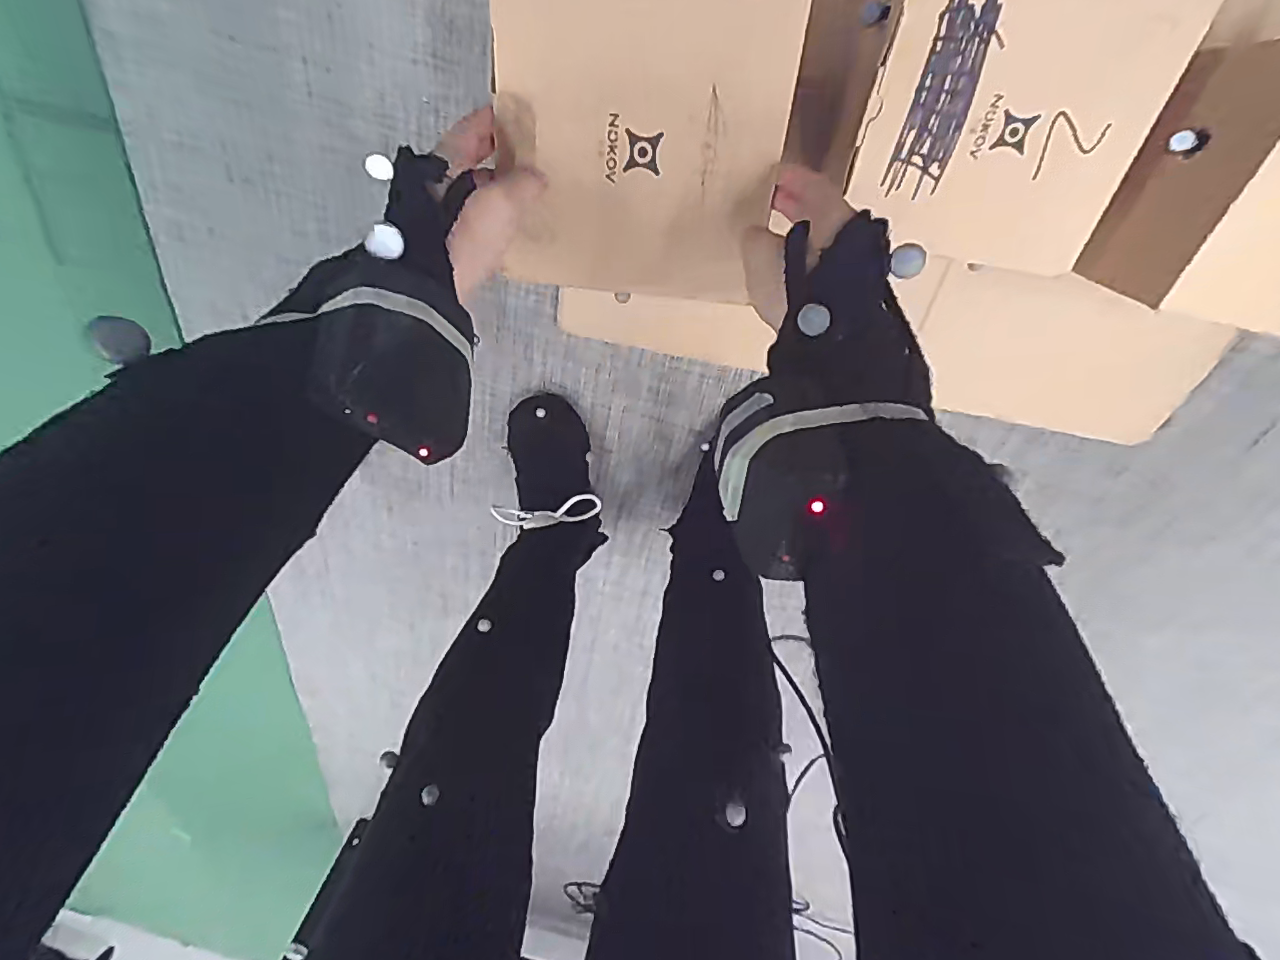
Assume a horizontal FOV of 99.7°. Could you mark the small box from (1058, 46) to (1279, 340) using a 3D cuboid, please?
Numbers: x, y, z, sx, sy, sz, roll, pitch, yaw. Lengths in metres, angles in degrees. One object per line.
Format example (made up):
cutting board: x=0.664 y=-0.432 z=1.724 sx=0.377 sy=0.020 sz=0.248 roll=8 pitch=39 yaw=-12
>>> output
small box: x=0.483 y=-0.212 z=0.416 sx=0.179 sy=0.176 sz=0.168 roll=13 pitch=124 yaw=2

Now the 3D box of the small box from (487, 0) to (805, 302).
small box: x=0.001 y=-0.239 z=0.399 sx=0.179 sy=0.176 sz=0.168 roll=5 pitch=120 yaw=0
